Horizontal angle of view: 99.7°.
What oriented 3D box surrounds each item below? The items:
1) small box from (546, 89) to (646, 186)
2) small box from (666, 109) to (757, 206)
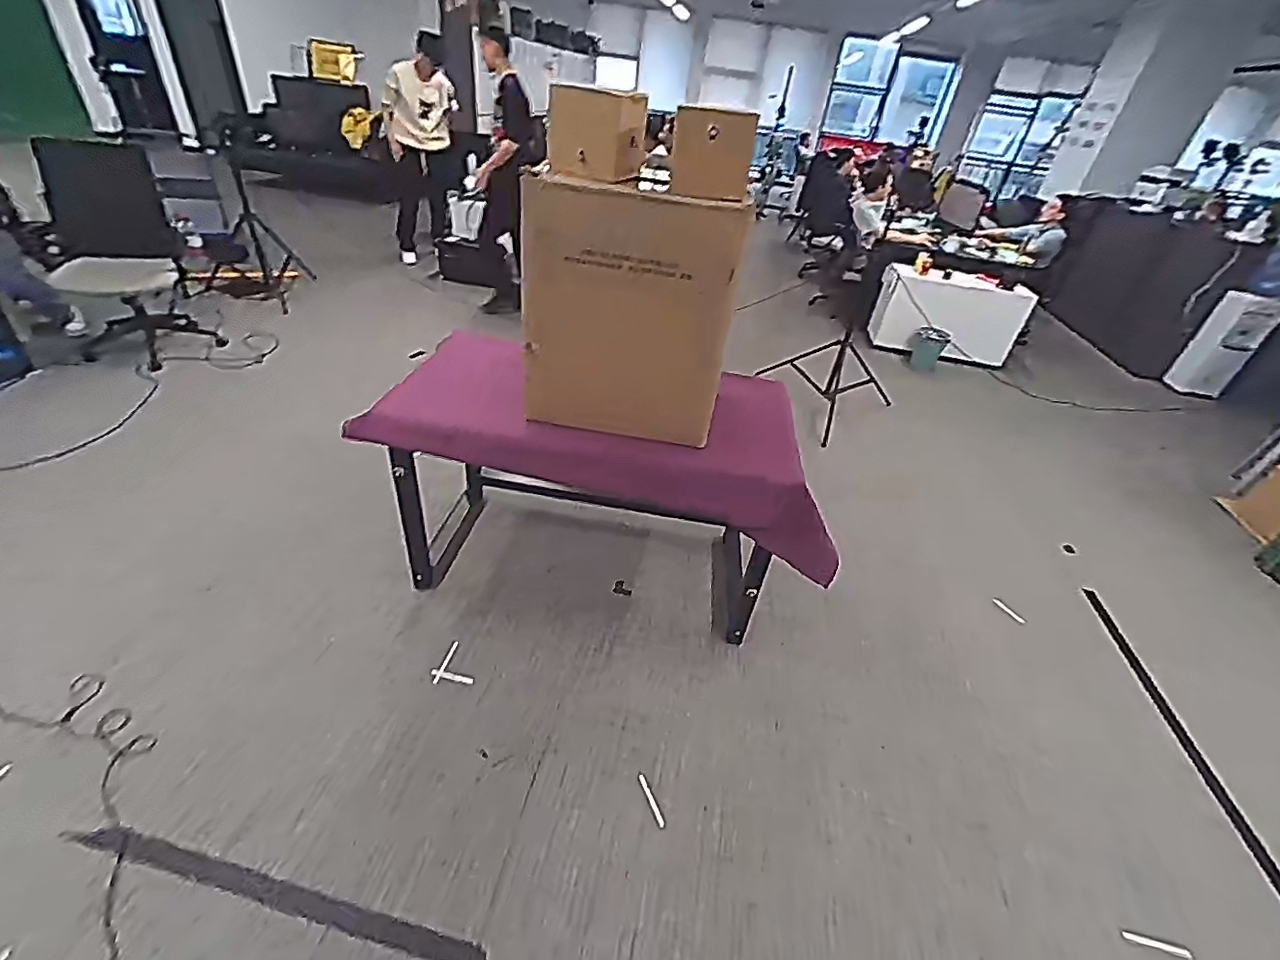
[{"bbox_3d":[-0.103,-0.794,1.258,0.179,0.176,0.168,19,39,13],"label":"small box"},{"bbox_3d":[0.156,-0.726,1.220,0.179,0.176,0.168,8,37,2],"label":"small box"}]
